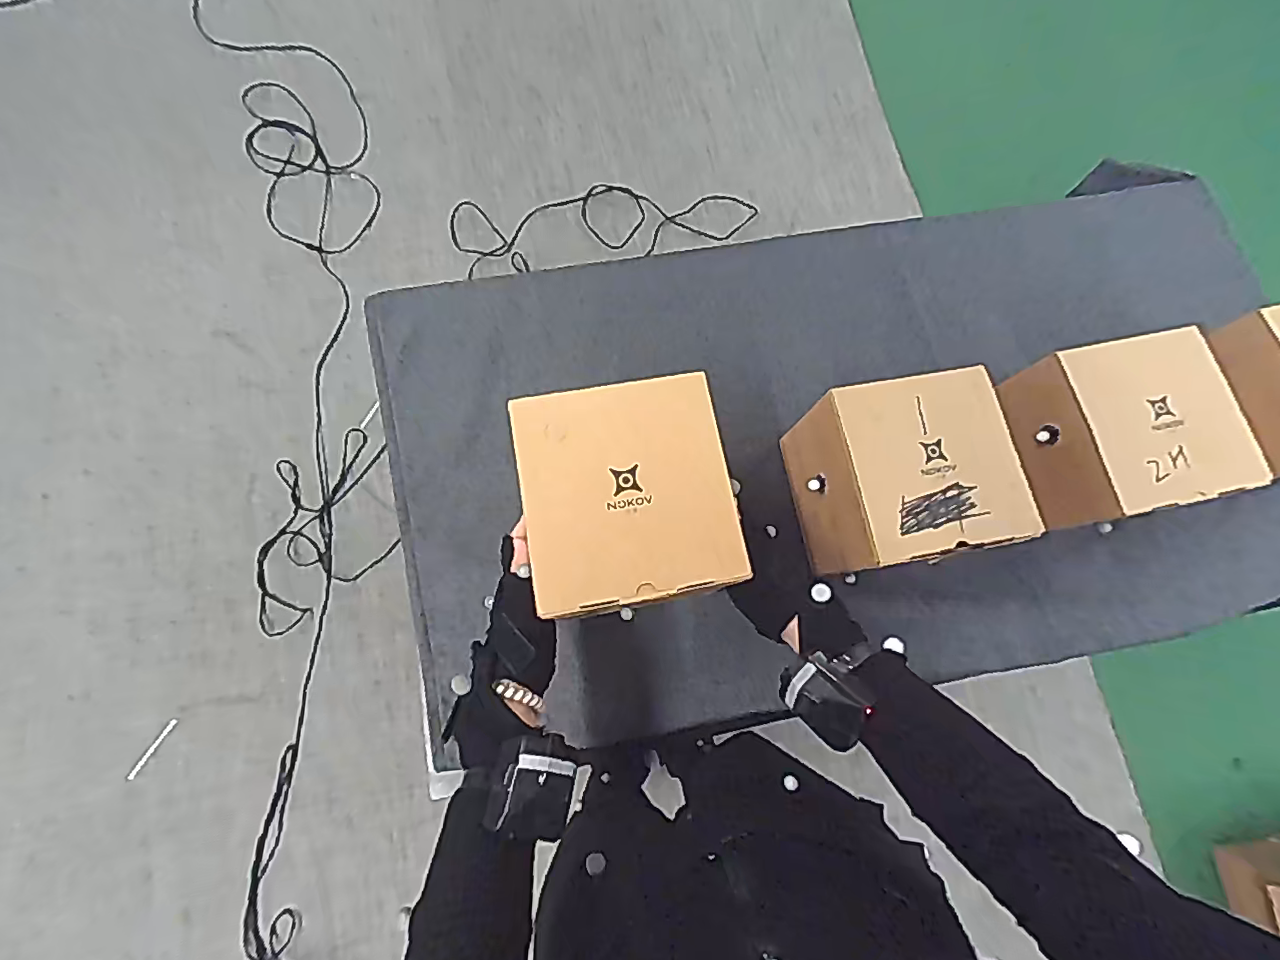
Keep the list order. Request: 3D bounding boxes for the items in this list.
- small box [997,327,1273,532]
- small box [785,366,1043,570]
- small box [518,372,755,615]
[{"bbox_3d":[0.513,-0.045,0.613,0.168,0.176,0.179,-11,77,-5],"label":"small box"},{"bbox_3d":[0.276,0.000,0.590,0.168,0.176,0.179,-9,76,-6],"label":"small box"},{"bbox_3d":[-0.012,0.023,0.501,0.168,0.176,0.179,-10,77,-7],"label":"small box"}]
